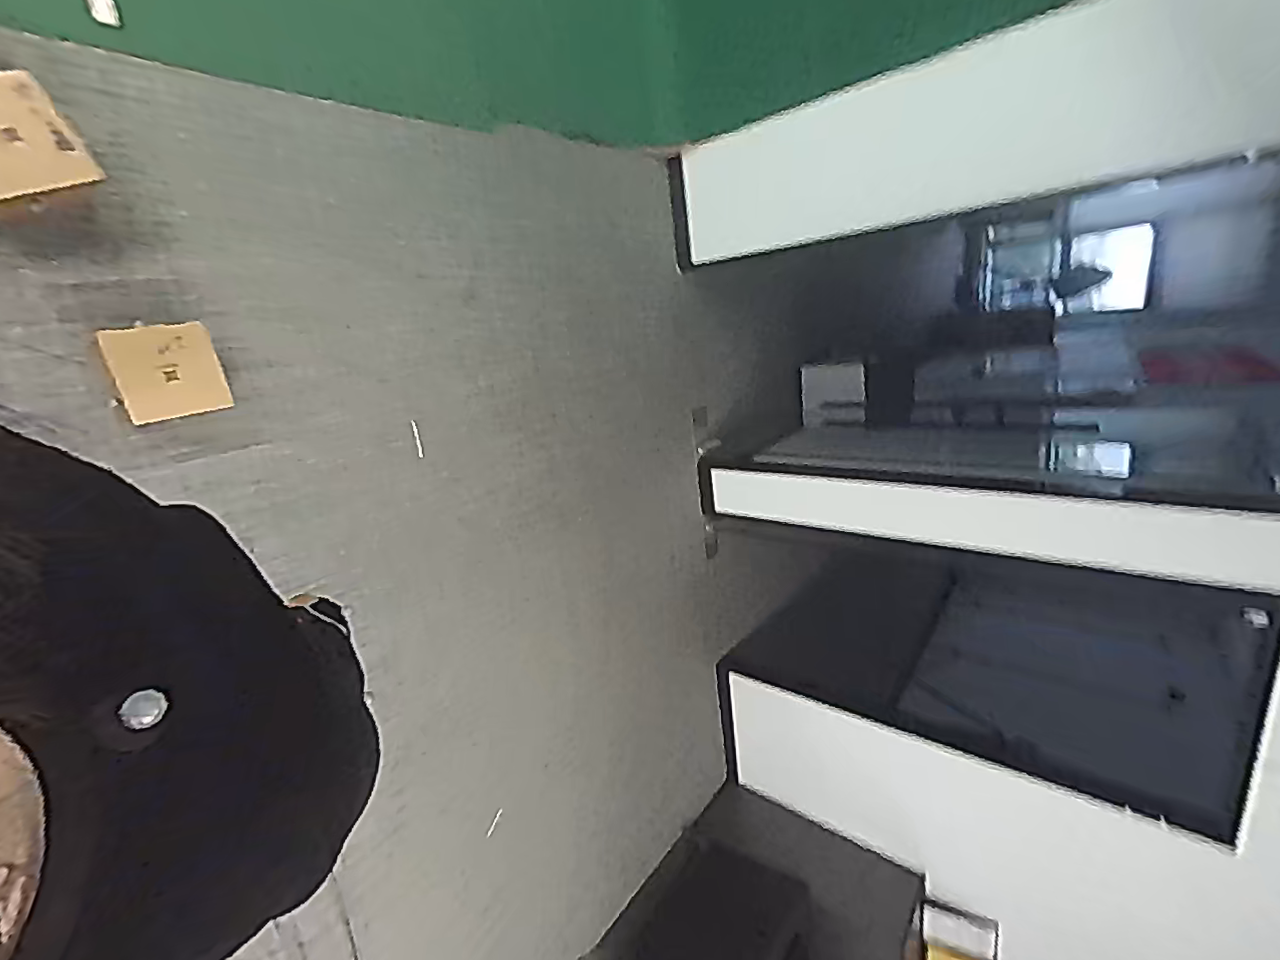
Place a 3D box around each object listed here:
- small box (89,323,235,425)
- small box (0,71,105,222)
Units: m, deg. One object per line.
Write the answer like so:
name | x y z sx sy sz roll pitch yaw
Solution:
small box | -0.965 -0.217 1.094 0.168 0.176 0.179 -27 116 -46
small box | -1.074 -0.557 0.917 0.179 0.176 0.168 -45 127 -37
